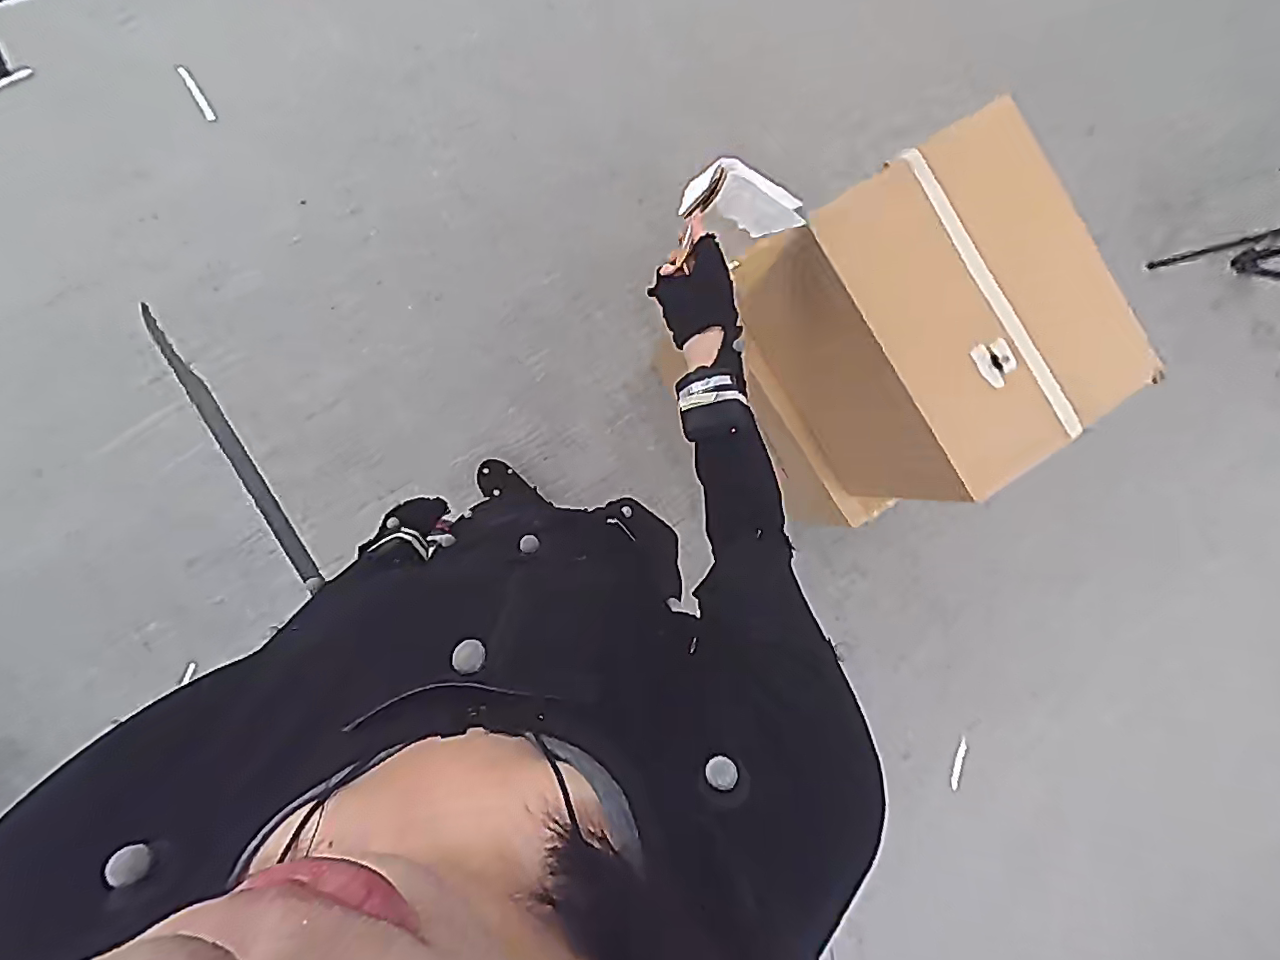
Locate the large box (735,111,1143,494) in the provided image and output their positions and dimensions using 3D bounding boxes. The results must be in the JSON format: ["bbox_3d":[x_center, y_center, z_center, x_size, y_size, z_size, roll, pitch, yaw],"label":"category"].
[{"bbox_3d":[0.412,-0.227,0.831,0.320,0.320,0.408,-33,94,-5],"label":"large box"}]
